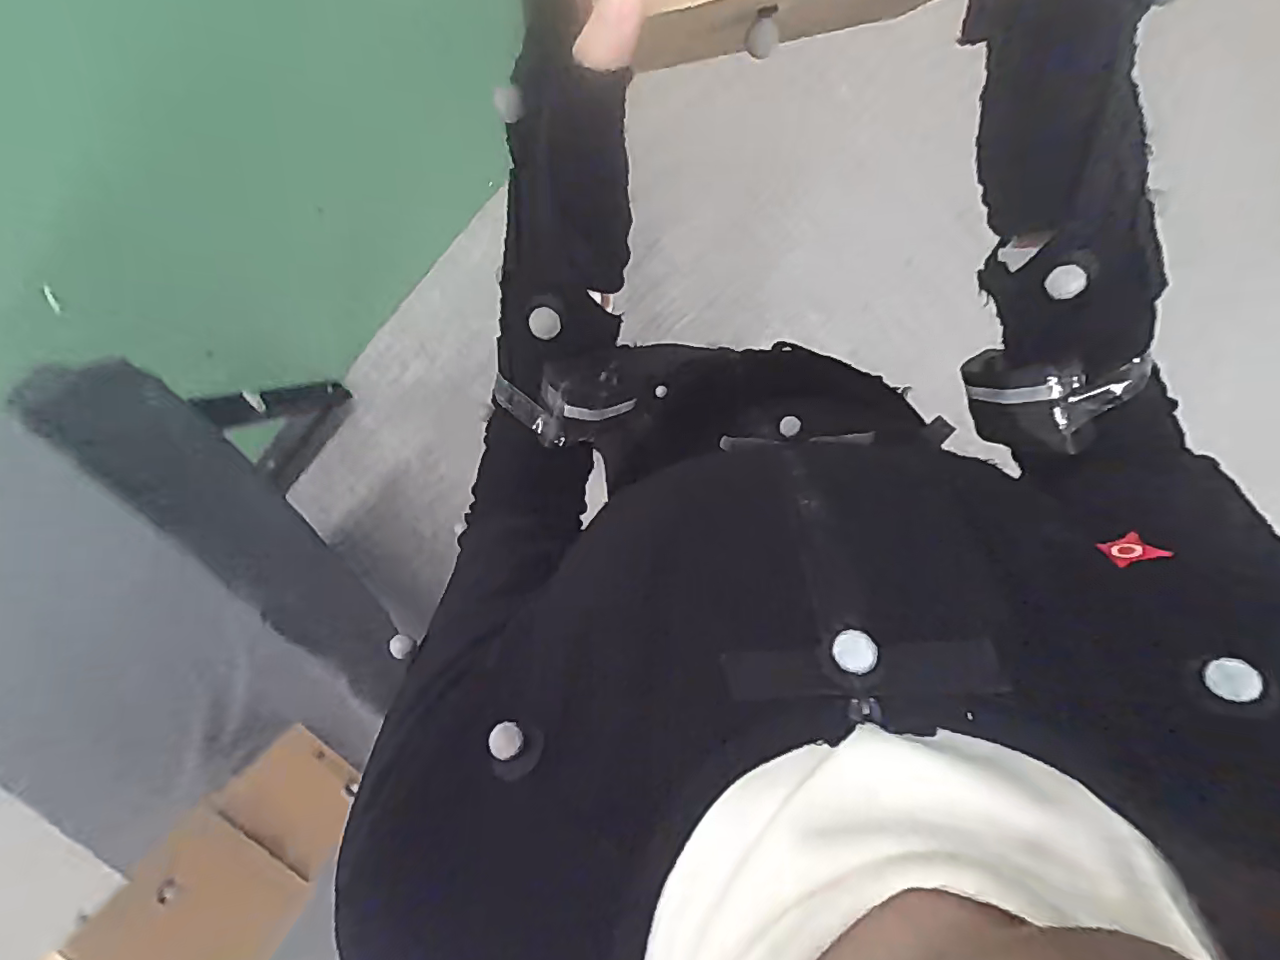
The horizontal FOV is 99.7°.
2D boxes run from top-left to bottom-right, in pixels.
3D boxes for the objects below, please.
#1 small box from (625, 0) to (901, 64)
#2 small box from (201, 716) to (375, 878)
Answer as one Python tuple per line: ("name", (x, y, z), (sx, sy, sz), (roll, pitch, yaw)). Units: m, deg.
("small box", (0.065, -0.299, 0.221), (0.179, 0.176, 0.168), (-10, 119, 7))
("small box", (-0.528, 0.489, 0.793), (0.179, 0.176, 0.168), (-43, 98, 15))
